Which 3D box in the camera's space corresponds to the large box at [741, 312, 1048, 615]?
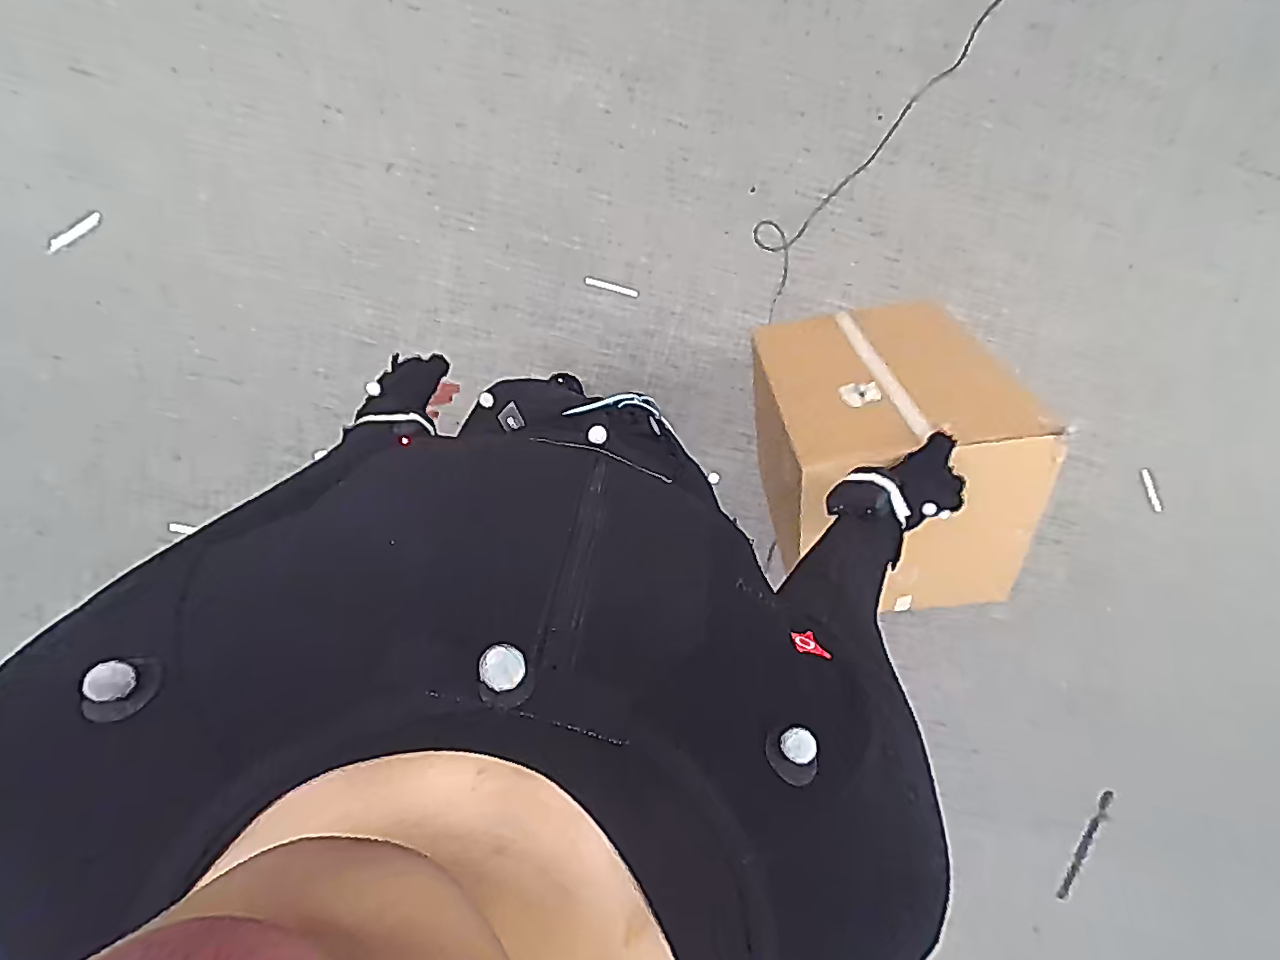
[{"bbox_3d":[0.363,-0.040,0.911,0.320,0.408,0.320,-8,129,6],"label":"large box"}]
